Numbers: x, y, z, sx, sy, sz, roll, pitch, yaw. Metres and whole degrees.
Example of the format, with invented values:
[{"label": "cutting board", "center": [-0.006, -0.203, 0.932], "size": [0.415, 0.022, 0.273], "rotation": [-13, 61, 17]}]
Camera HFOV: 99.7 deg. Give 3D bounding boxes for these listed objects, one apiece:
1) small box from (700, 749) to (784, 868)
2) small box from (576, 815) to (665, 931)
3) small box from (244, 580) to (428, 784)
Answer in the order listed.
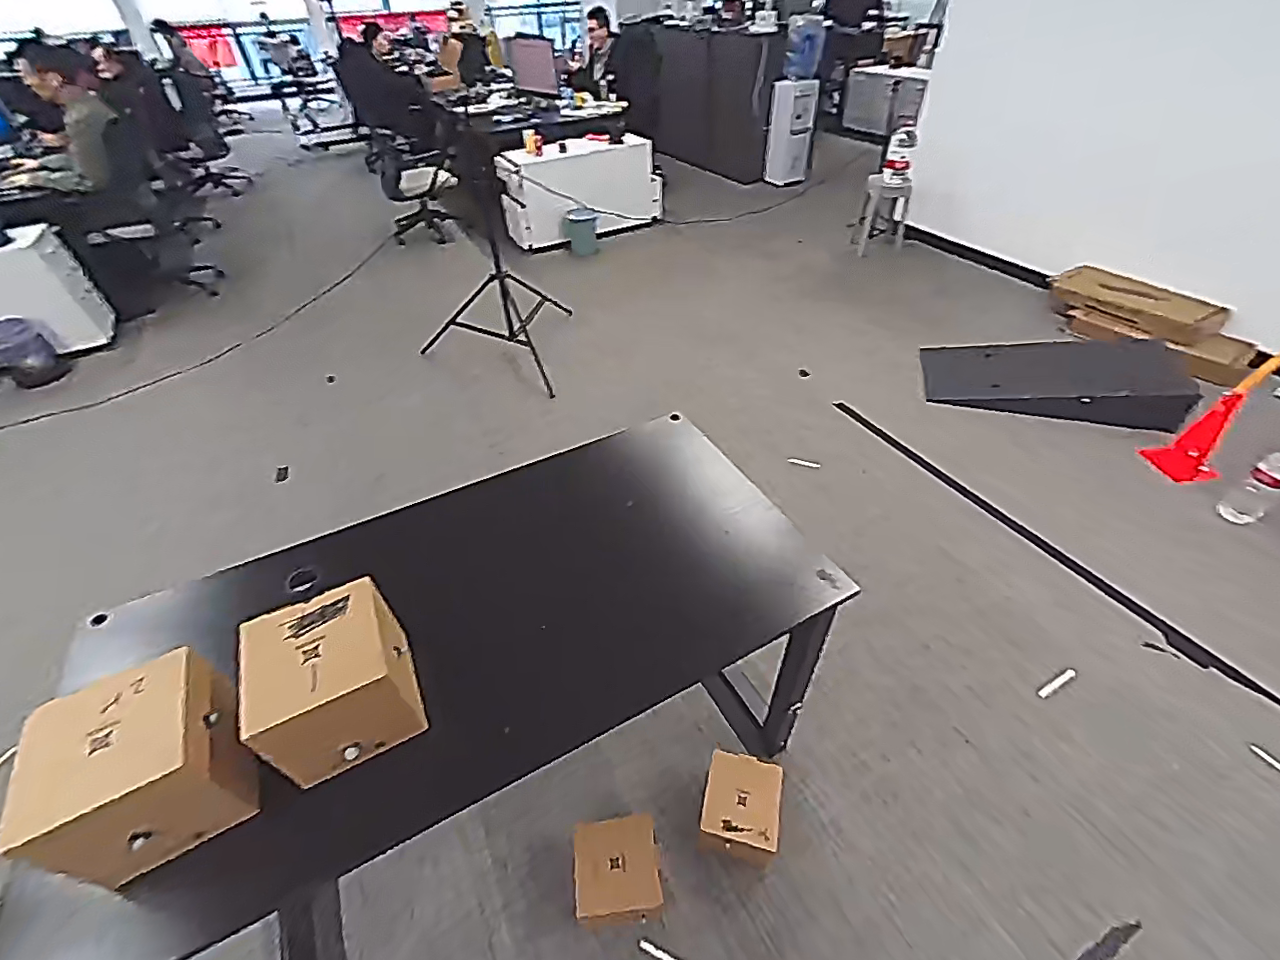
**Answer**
[{"label": "small box", "center": [0.235, 0.767, 1.263], "size": [0.168, 0.176, 0.179], "rotation": [9, 45, 13]}, {"label": "small box", "center": [-0.042, 0.860, 1.182], "size": [0.179, 0.176, 0.168], "rotation": [-7, 43, -3]}, {"label": "small box", "center": [-0.416, 0.279, 0.753], "size": [0.168, 0.176, 0.179], "rotation": [-22, 47, -19]}]
